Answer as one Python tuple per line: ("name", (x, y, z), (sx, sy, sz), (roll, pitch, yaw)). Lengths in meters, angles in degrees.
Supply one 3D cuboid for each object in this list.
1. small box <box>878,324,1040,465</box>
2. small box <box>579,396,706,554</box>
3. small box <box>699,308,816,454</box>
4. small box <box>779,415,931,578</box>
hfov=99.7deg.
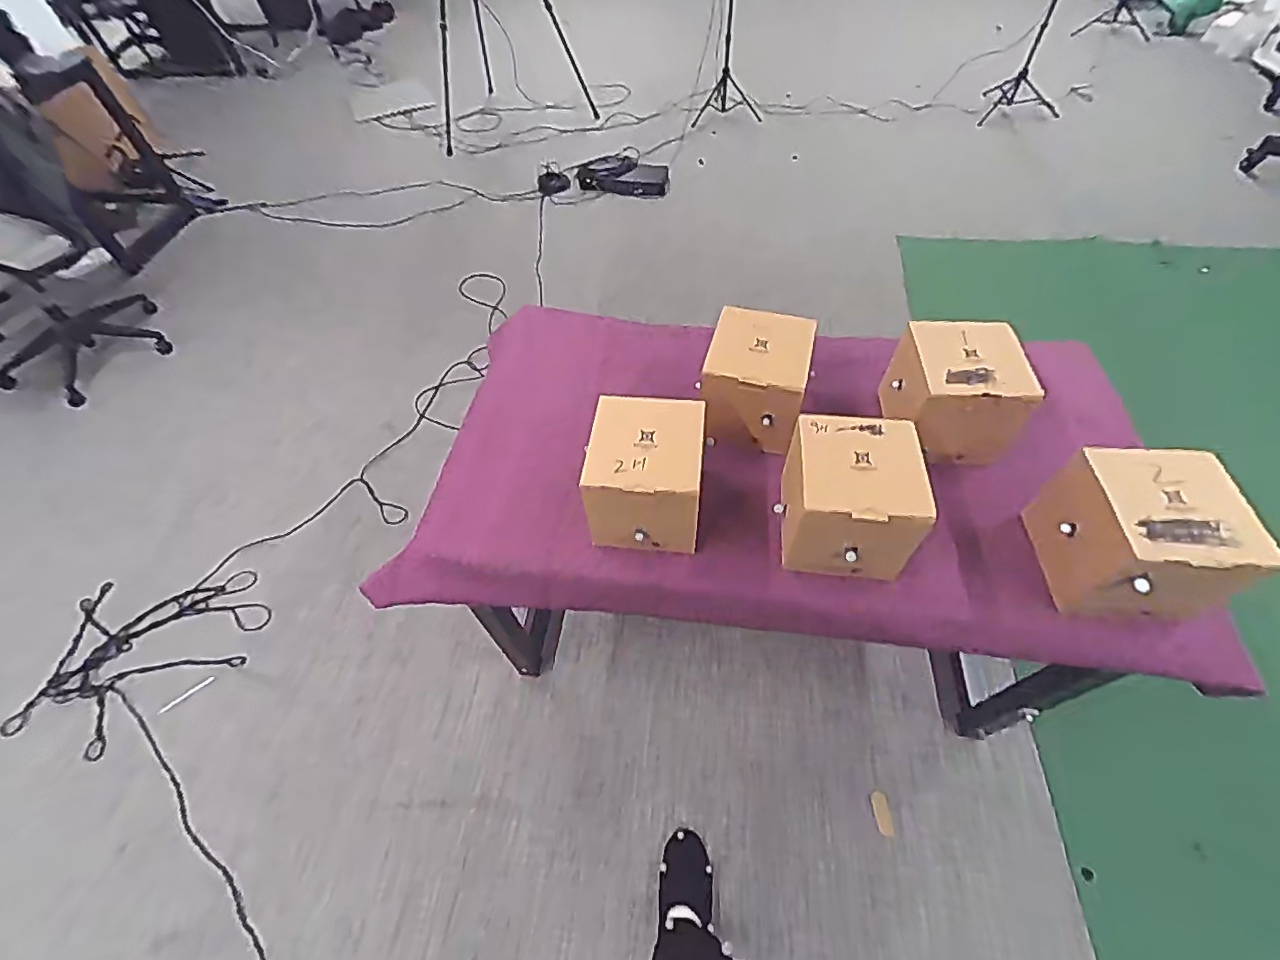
("small box", (0.524, -0.142, 0.919), (0.168, 0.176, 0.179), (3, 53, 5))
("small box", (0.010, -0.007, 0.842), (0.168, 0.176, 0.179), (4, 53, 6))
("small box", (0.202, -0.171, 0.957), (0.168, 0.176, 0.179), (13, 55, 11))
("small box", (0.303, 0.029, 0.802), (0.168, 0.176, 0.179), (6, 53, 7))
